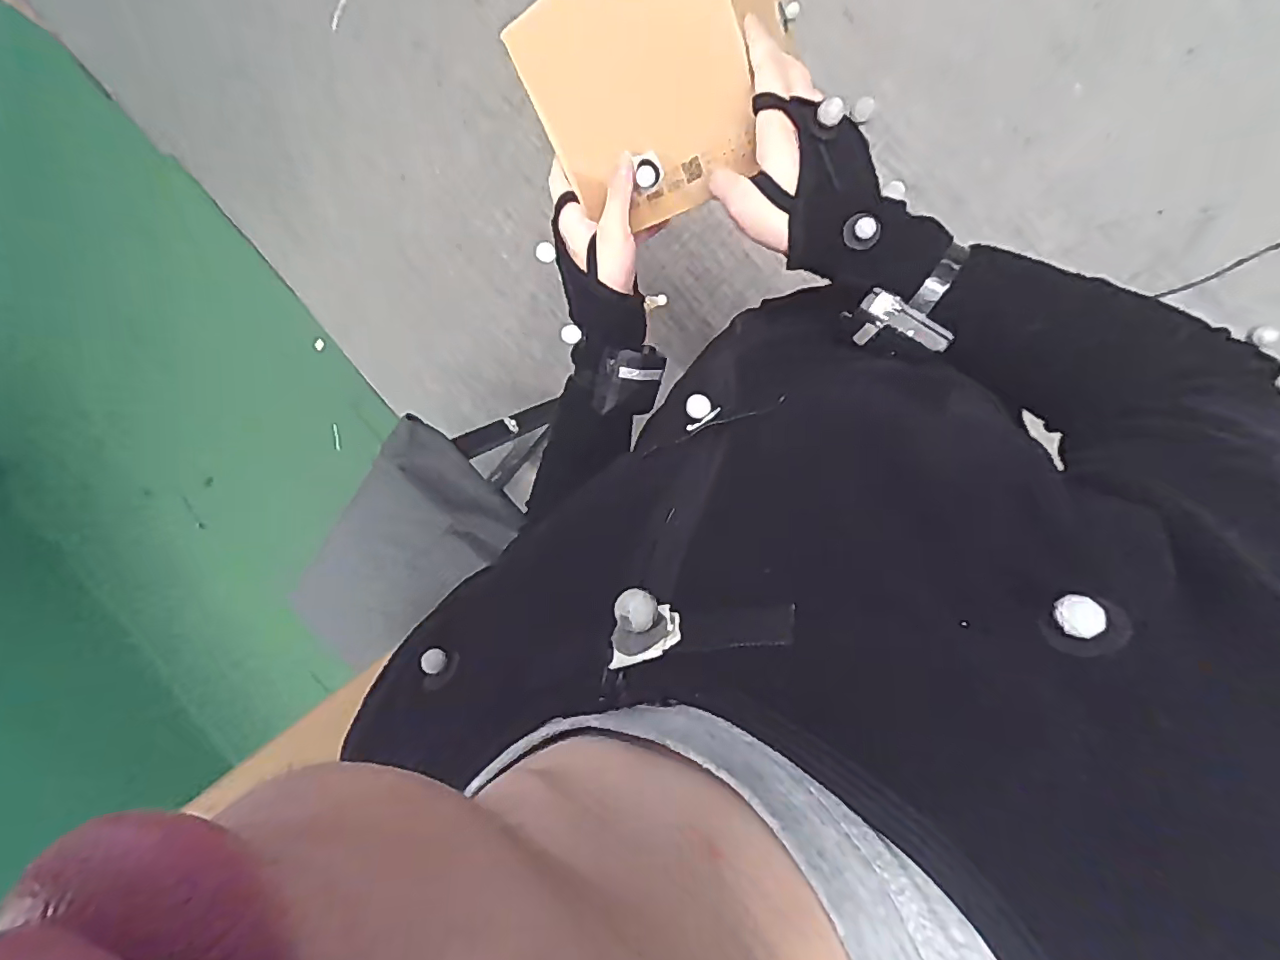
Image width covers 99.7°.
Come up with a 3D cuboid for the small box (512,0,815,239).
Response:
[{"bbox_3d":[0.035,-0.328,0.451,0.168,0.179,0.176,-10,123,34],"label":"small box"}]
